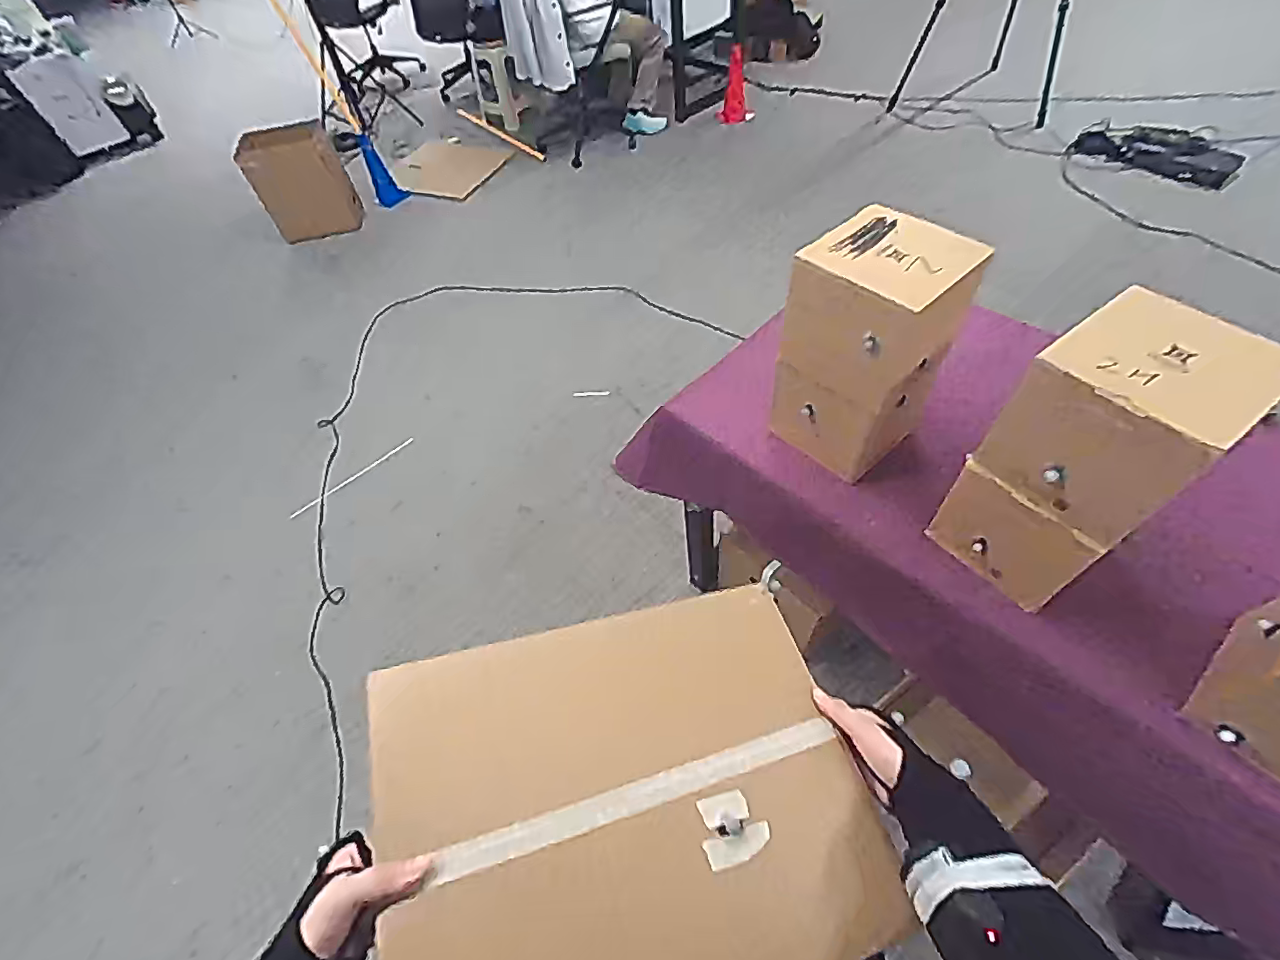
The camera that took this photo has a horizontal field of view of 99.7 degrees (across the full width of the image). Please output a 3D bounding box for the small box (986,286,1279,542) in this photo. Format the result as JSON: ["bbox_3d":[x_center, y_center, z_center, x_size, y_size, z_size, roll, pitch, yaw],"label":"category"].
[{"bbox_3d":[0.520,-0.068,0.581,0.179,0.176,0.168,-32,56,-15],"label":"small box"}]

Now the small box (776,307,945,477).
[{"bbox_3d":[0.334,-0.136,0.859,0.168,0.176,0.179,-38,57,-18],"label":"small box"}]

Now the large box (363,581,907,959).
[{"bbox_3d":[-0.037,0.351,0.571,0.408,0.320,0.320,-9,56,-20],"label":"large box"}]

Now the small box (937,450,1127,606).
[{"bbox_3d":[0.532,0.032,0.712,0.179,0.176,0.168,-34,56,-15],"label":"small box"}]

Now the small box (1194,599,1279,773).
[{"bbox_3d":[0.732,0.219,0.545,0.179,0.176,0.168,-36,57,-19],"label":"small box"}]
